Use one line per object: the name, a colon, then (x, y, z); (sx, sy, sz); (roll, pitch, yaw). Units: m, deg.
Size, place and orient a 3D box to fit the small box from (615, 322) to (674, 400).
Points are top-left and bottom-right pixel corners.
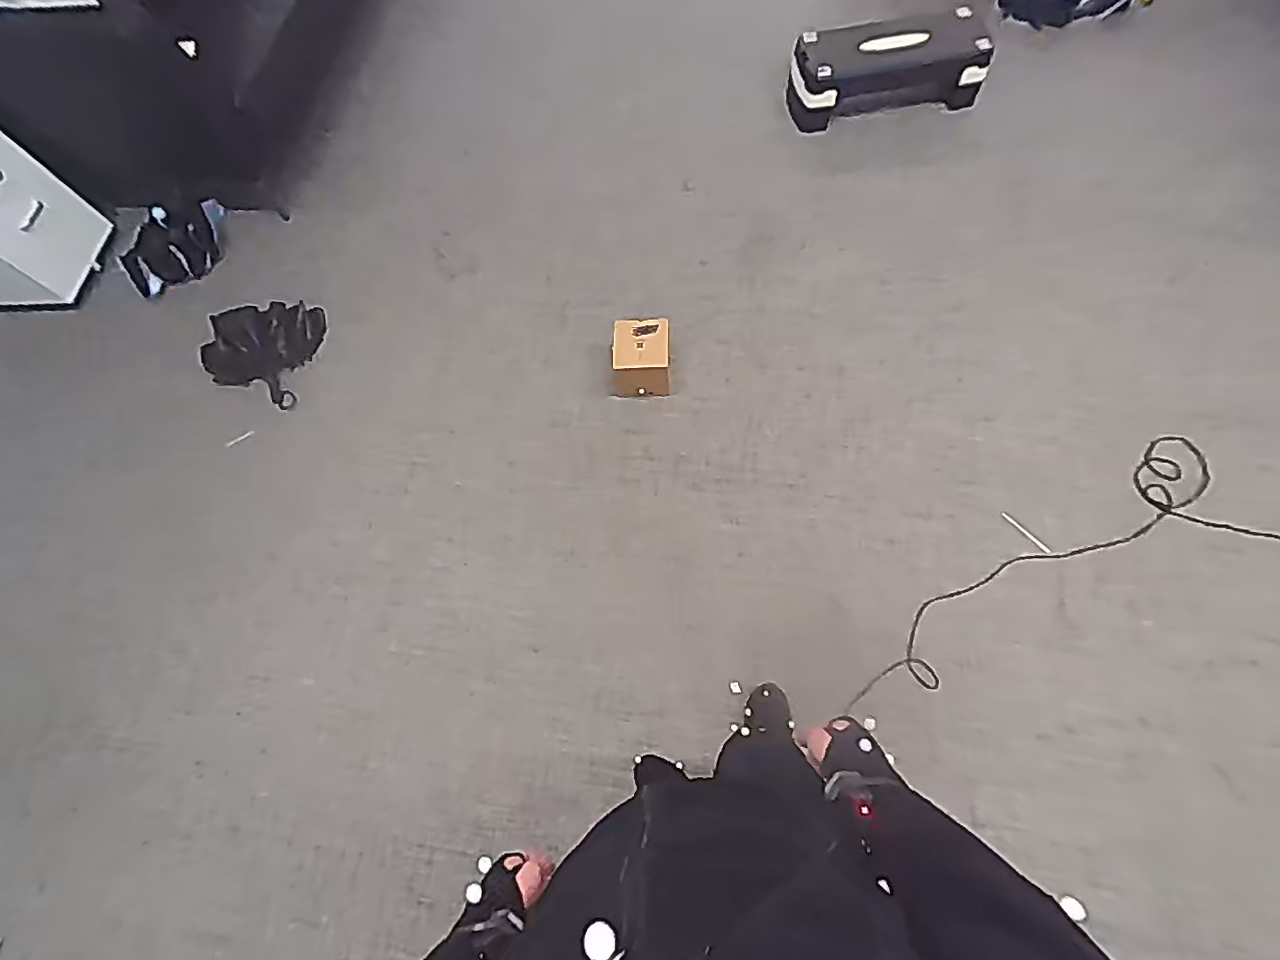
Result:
small box: (0.018, -0.367, 1.683); (0.168, 0.176, 0.179); (-1, 68, 6)
